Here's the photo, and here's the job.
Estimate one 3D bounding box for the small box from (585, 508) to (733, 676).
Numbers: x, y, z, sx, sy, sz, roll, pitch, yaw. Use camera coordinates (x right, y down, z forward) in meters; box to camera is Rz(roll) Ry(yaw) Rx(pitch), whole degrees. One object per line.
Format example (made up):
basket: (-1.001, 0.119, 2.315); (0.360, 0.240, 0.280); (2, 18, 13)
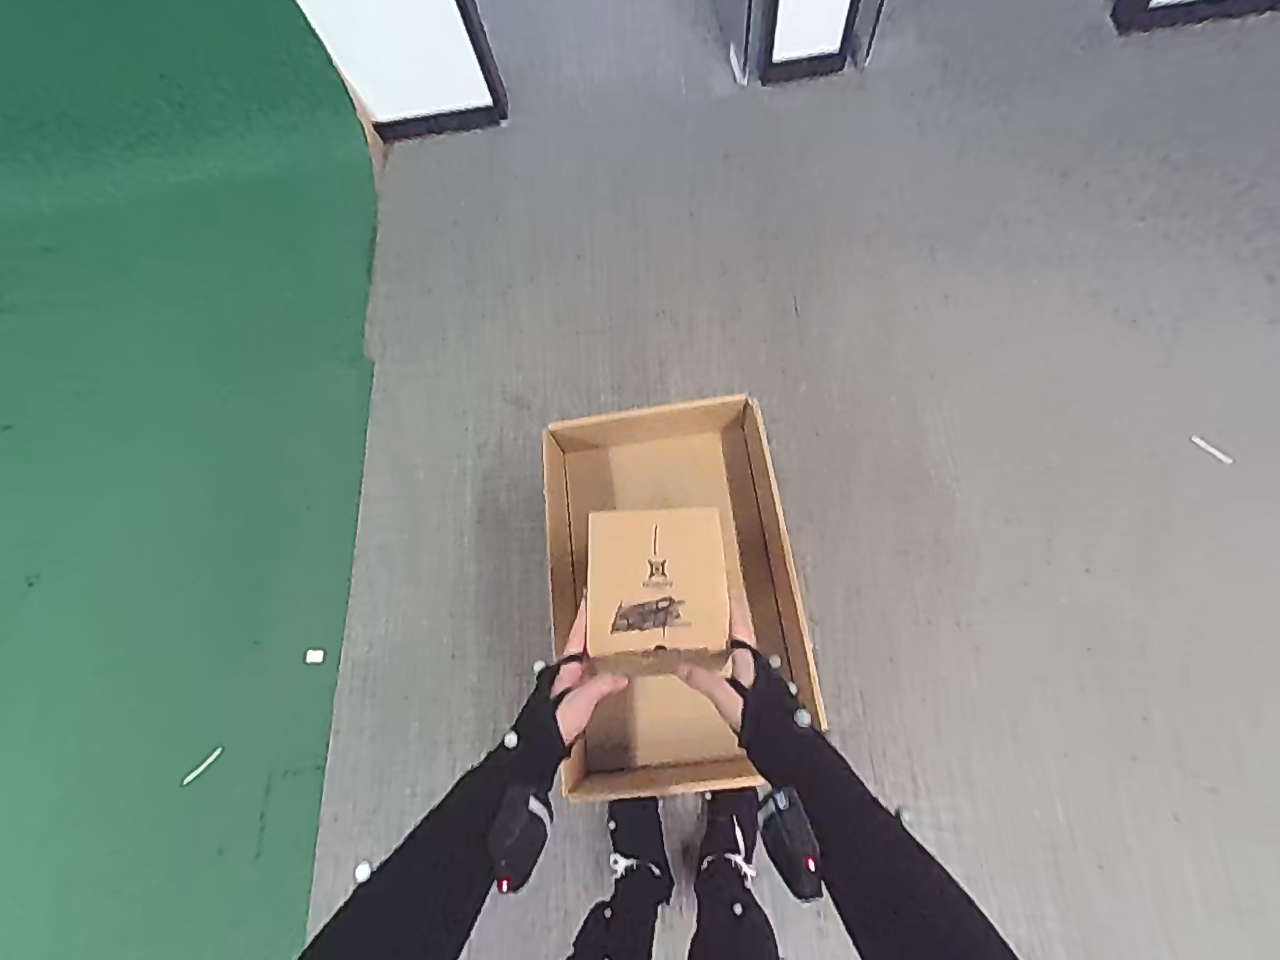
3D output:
small box: (0.022, 0.152, 0.697); (0.168, 0.176, 0.179); (-2, 61, 0)
